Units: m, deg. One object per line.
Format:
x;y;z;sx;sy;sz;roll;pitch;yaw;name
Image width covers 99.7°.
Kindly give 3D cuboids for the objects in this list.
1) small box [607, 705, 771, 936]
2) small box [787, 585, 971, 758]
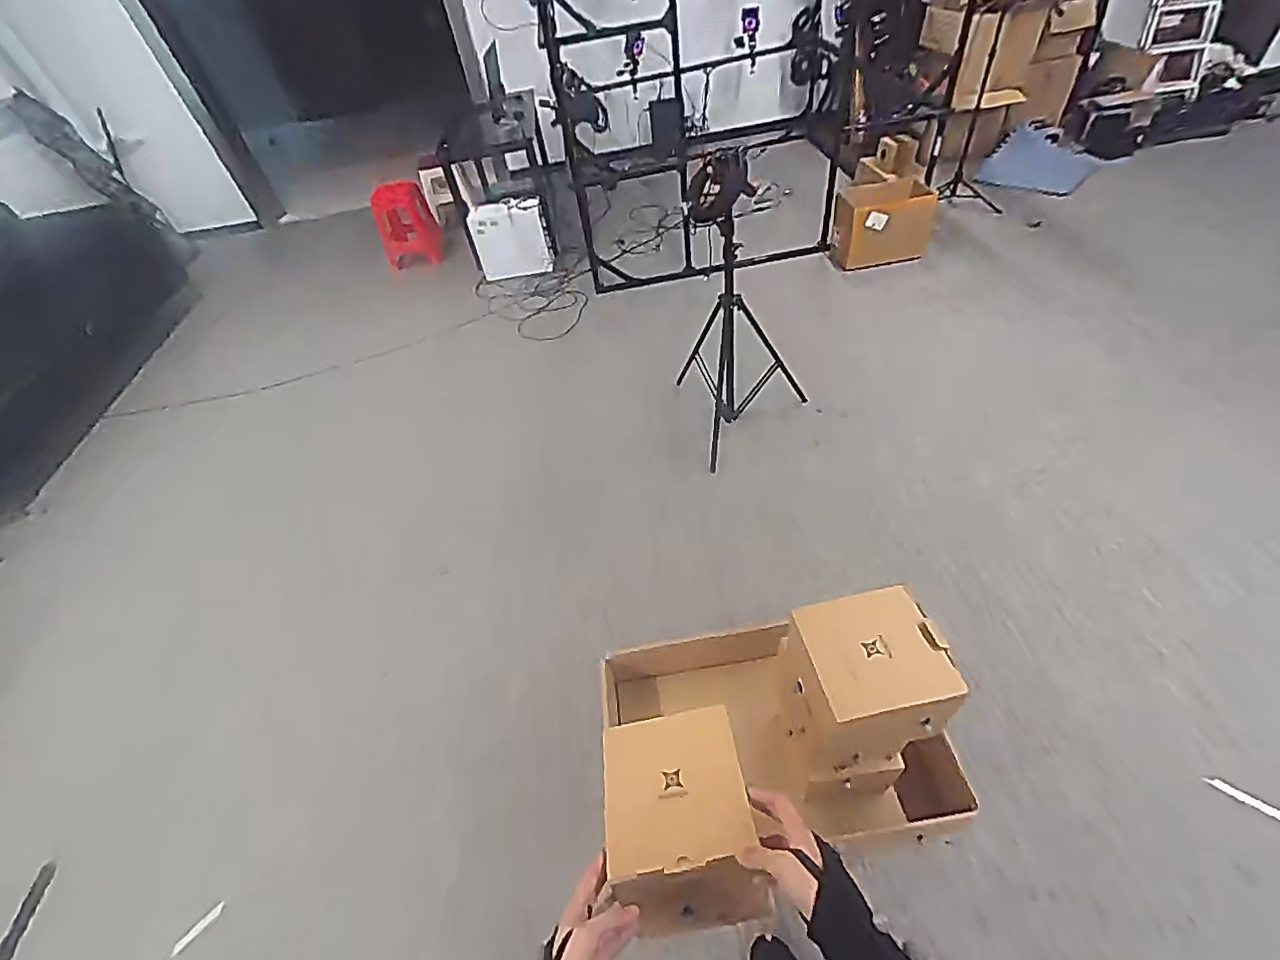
0.057;0.417;0.669;0.168;0.176;0.179;-12;33;2;small box
0.327;0.280;0.784;0.179;0.176;0.168;-12;46;-1;small box
